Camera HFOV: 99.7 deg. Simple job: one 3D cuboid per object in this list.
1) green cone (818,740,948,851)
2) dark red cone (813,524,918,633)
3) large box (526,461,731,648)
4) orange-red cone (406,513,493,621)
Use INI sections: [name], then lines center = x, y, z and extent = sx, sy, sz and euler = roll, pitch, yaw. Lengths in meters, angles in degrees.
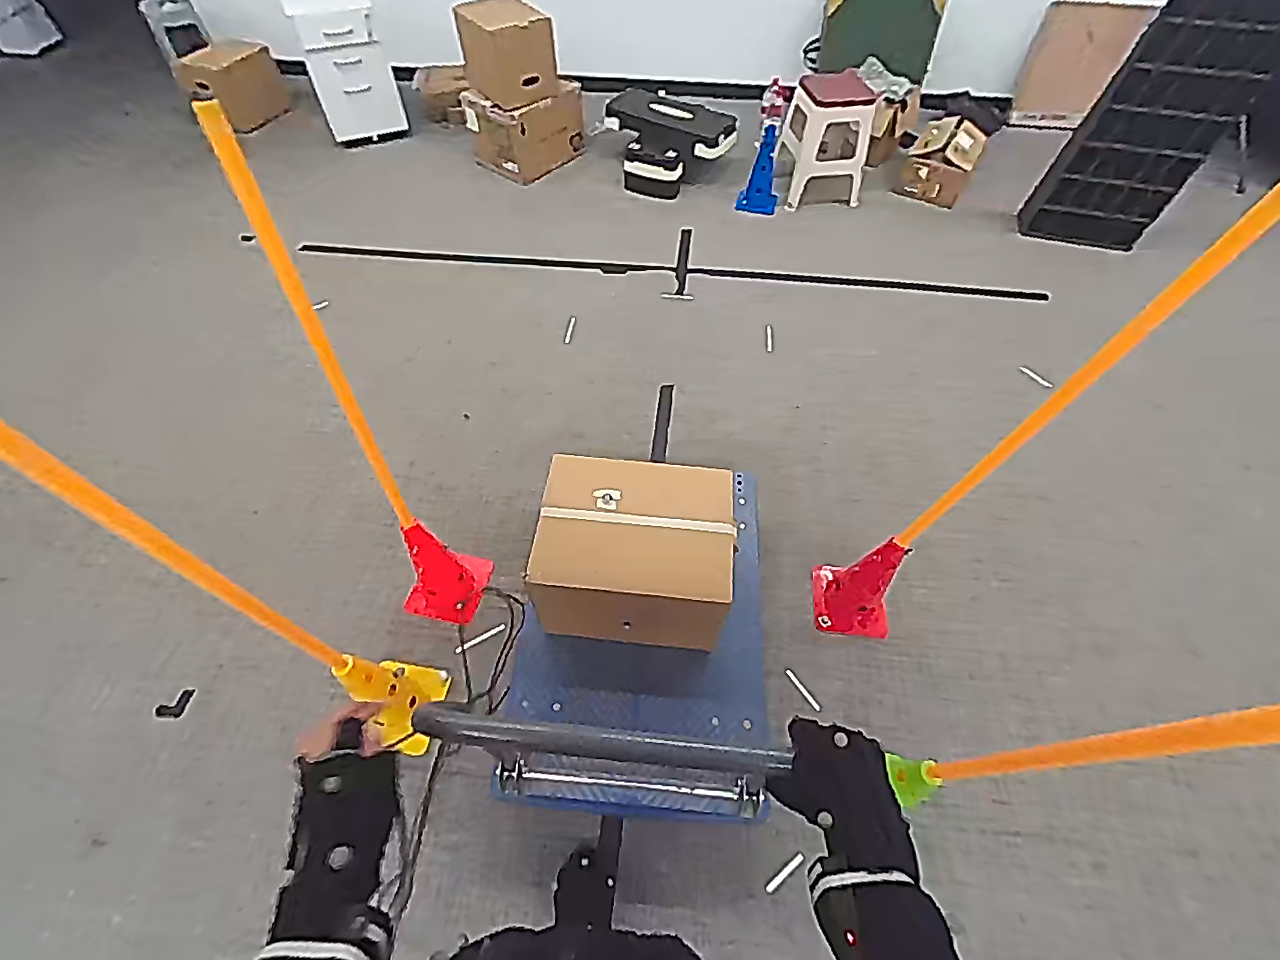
[green cone]
center = 0.521, 0.630, 1.117
extent = 0.202, 0.368, 0.200
euler = 10, 55, 4
[dark red cone]
center = 0.598, 0.229, 1.379
extent = 0.201, 0.394, 0.202
euler = 7, 55, 1
[large box]
center = -0.010, 0.181, 1.247
extent = 0.408, 0.320, 0.320
euler = 6, 56, 3
[orange-red cone]
center = -0.535, 0.192, 1.405
extent = 0.198, 0.360, 0.199
euler = 13, 54, 7
